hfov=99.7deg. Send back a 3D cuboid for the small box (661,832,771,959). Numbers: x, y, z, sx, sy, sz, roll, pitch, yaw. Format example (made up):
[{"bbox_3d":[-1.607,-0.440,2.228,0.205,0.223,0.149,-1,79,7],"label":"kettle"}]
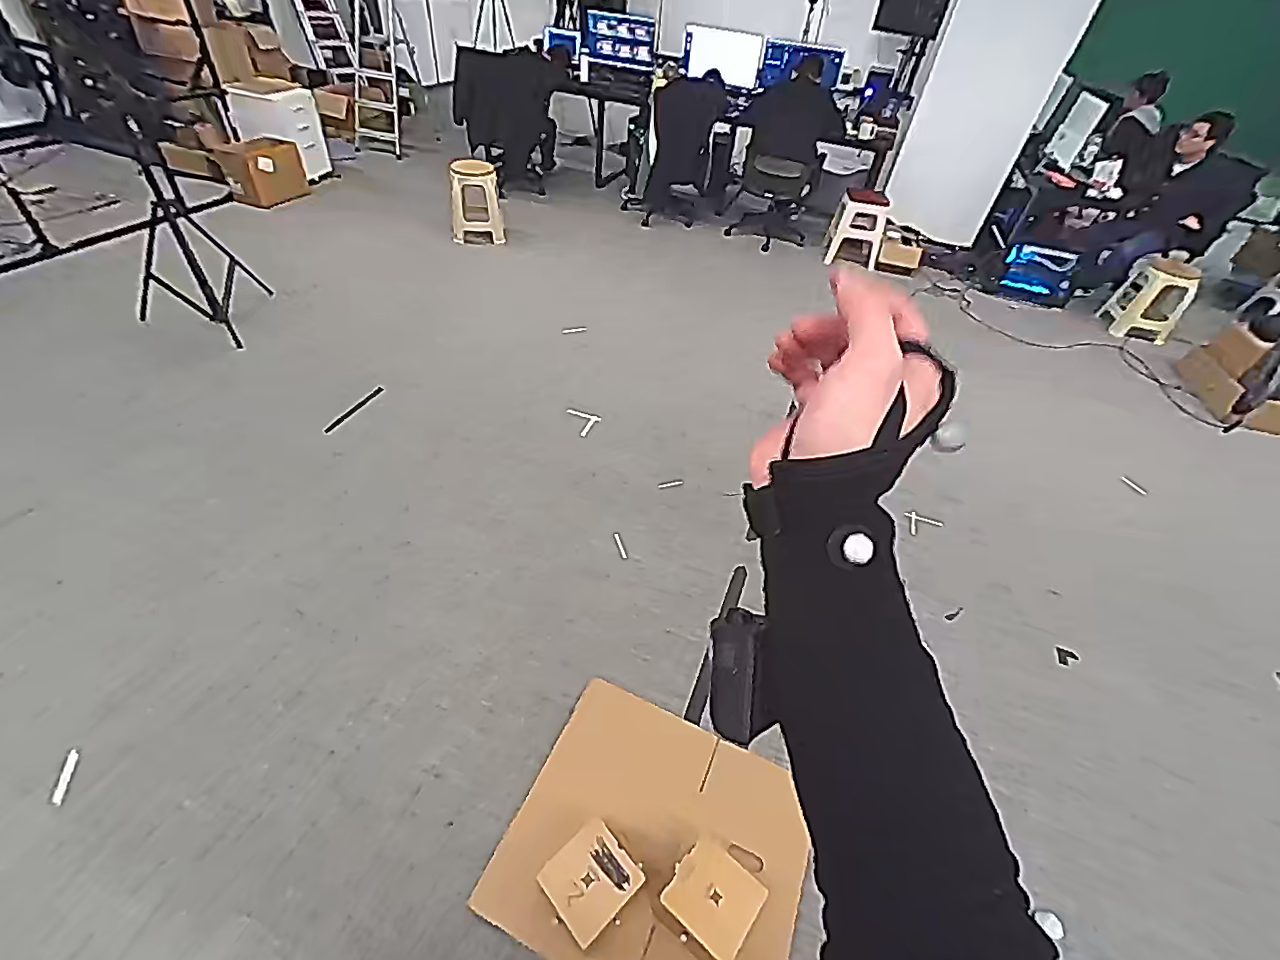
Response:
[{"bbox_3d":[0.163,0.938,1.205,0.179,0.176,0.168,31,51,27],"label":"small box"}]
